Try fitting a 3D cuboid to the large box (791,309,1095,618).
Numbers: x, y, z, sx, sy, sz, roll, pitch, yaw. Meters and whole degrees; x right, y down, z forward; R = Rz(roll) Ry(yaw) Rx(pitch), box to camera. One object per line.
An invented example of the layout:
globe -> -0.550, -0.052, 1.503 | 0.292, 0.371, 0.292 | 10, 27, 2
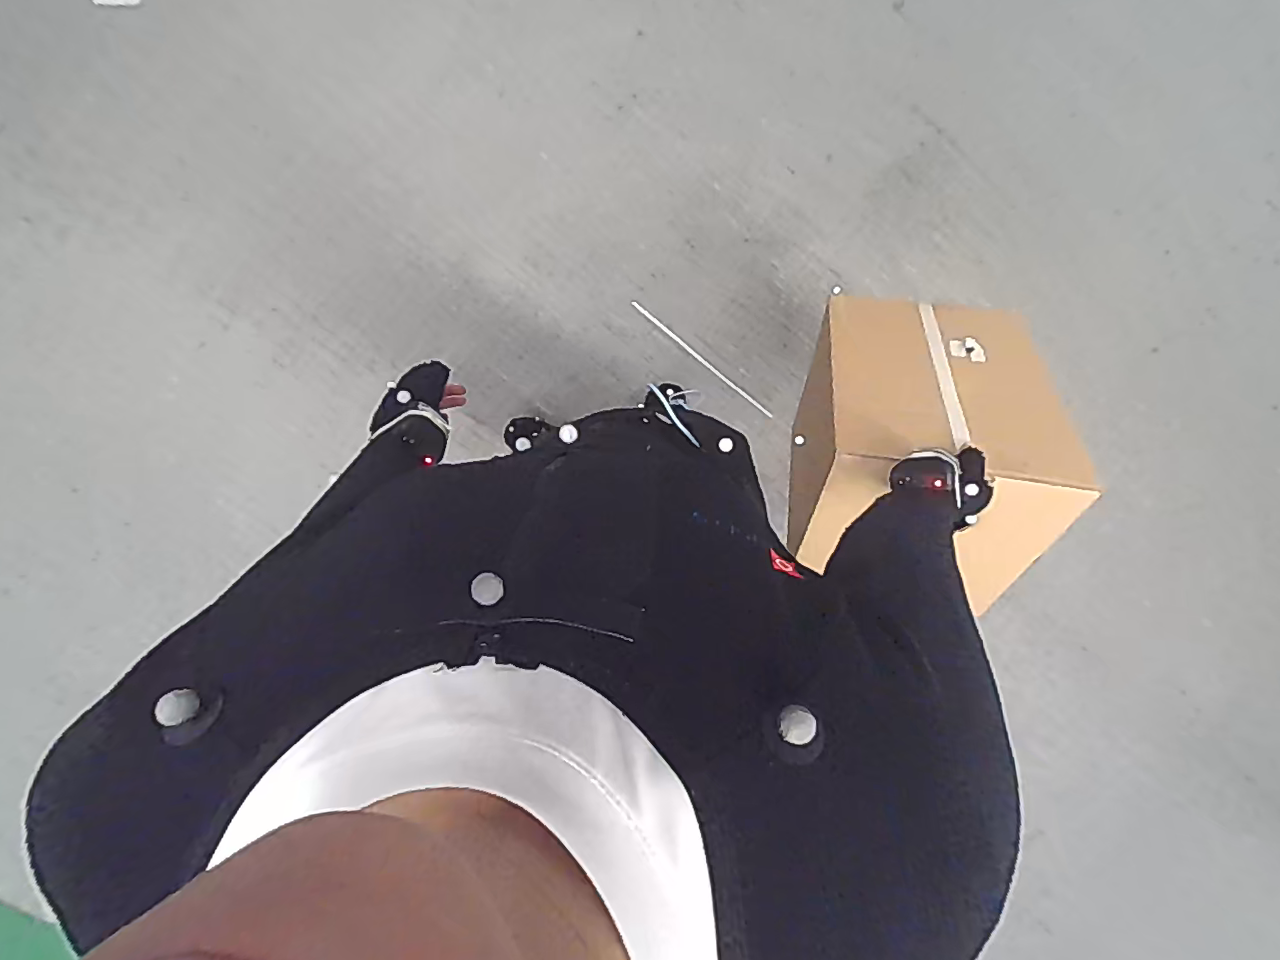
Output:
large box -> 0.443, -0.036, 0.914 | 0.320, 0.408, 0.320 | 11, 137, 7
